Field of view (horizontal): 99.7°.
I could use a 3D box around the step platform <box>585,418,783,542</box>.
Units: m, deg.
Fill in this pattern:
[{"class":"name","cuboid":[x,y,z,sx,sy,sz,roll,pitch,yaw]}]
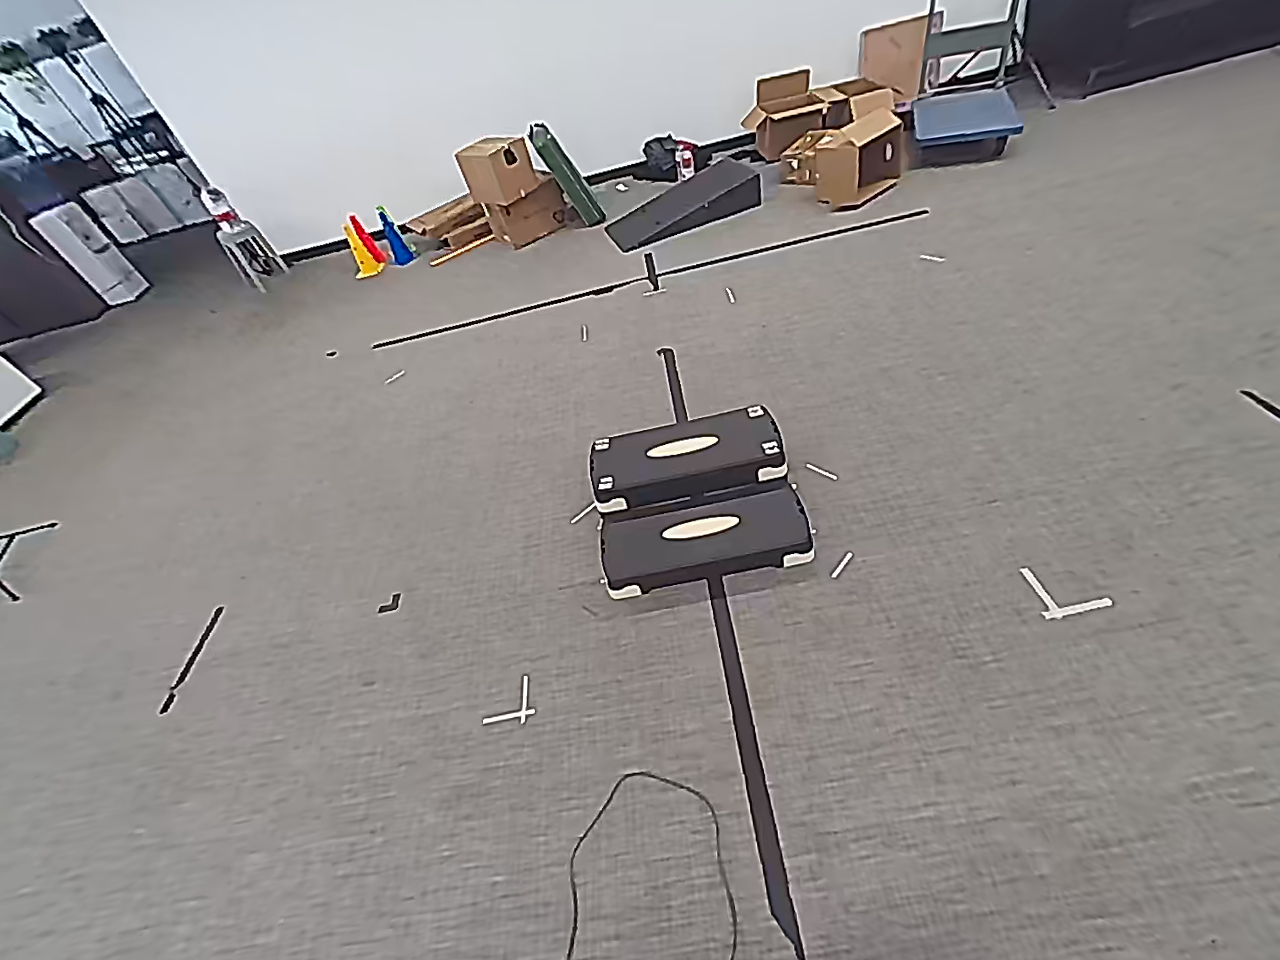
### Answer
[{"class":"step platform","cuboid":[0.148,-0.006,1.921,0.684,0.204,0.286,-12,45,3]}]
